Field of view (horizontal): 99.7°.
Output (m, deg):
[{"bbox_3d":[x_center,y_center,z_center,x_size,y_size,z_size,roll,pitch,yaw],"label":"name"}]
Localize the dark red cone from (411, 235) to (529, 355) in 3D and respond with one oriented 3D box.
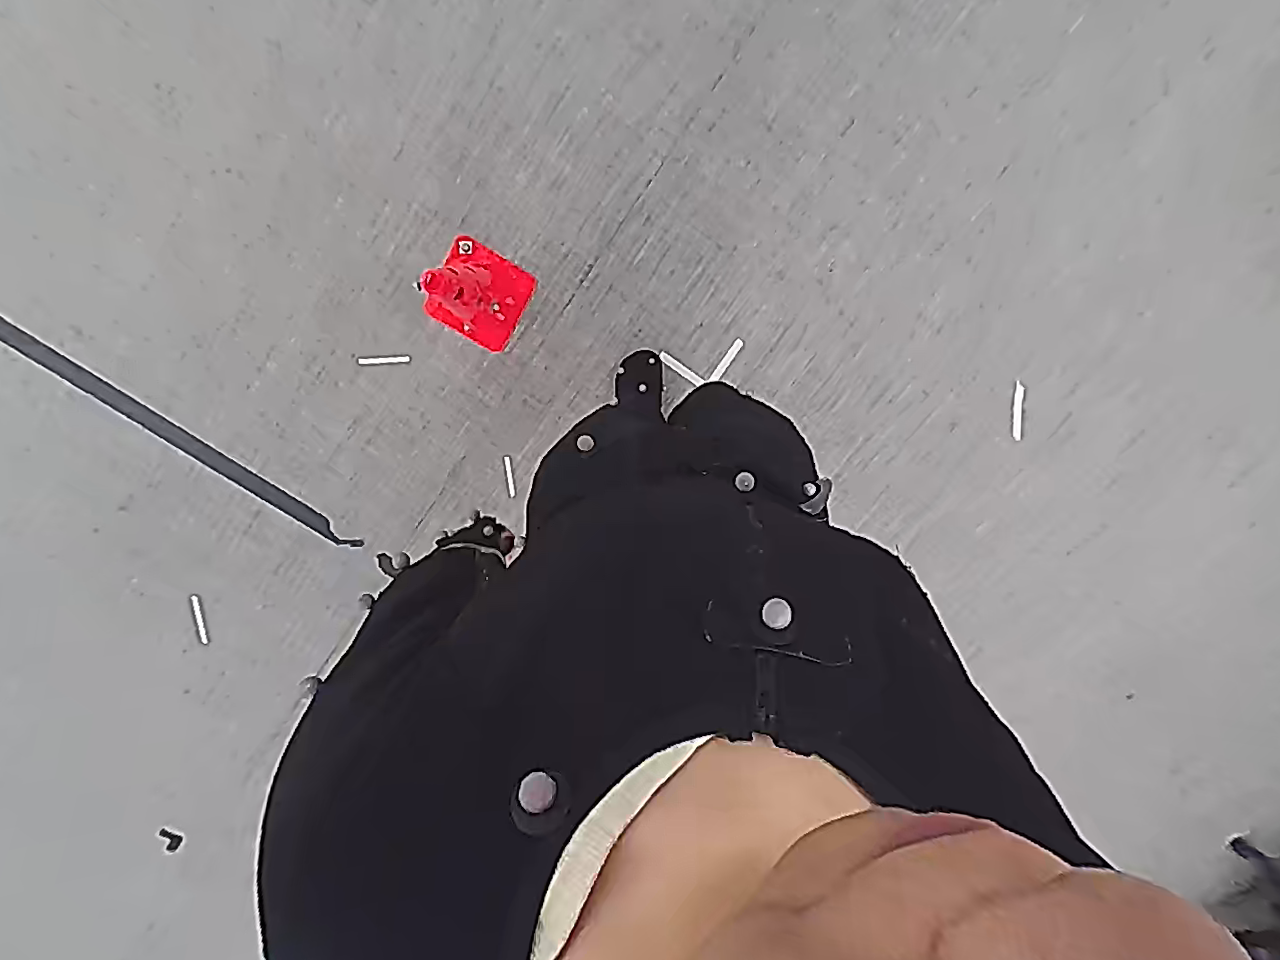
[{"bbox_3d":[-0.357,-0.360,1.040,0.202,0.394,0.201,28,103,-10],"label":"dark red cone"}]
